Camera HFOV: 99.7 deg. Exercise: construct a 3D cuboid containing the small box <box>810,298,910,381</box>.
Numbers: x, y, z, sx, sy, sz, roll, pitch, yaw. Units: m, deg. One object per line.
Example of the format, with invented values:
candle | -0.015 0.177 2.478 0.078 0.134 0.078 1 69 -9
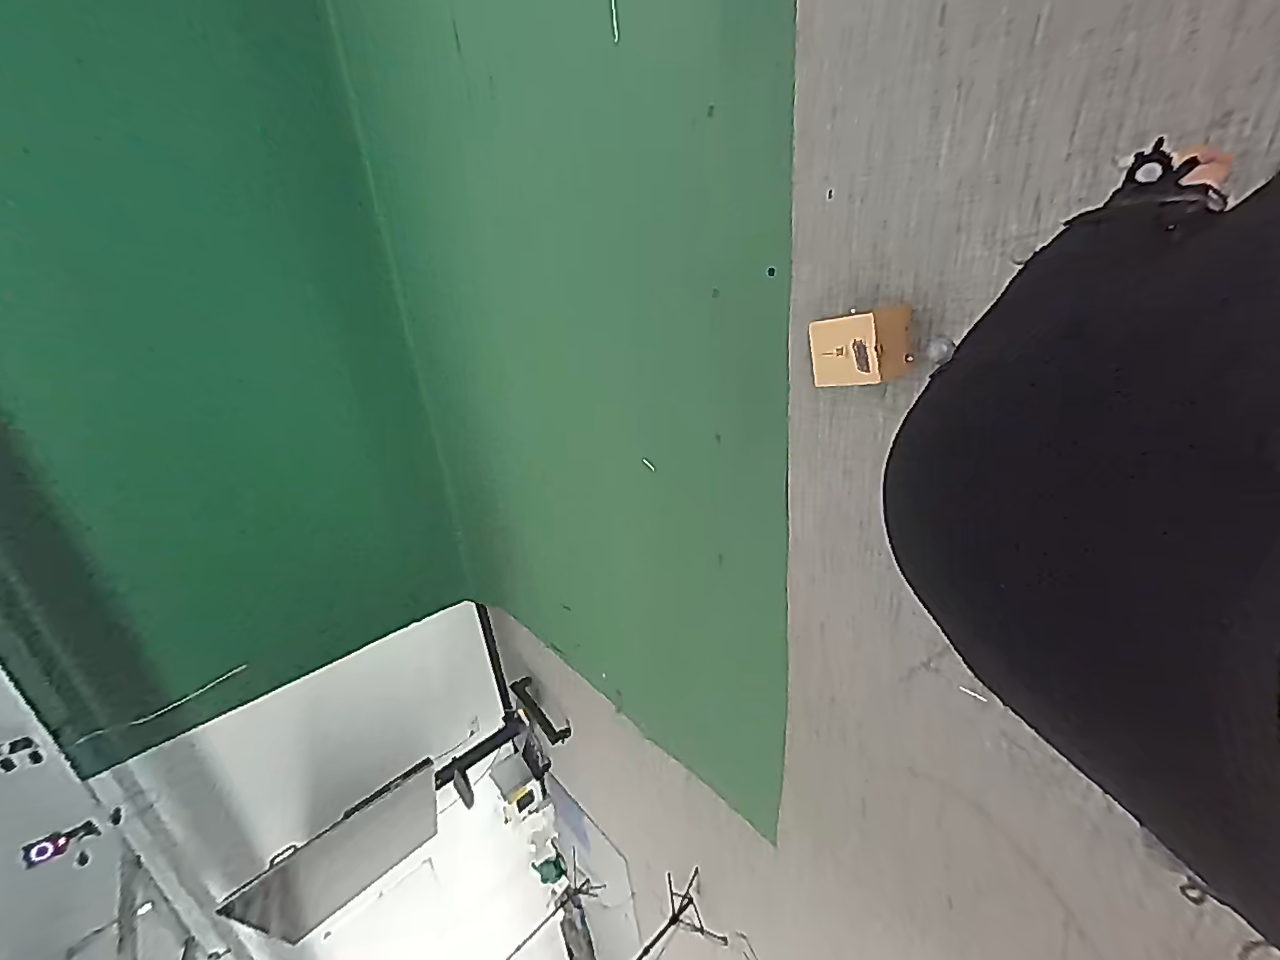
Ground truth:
small box | 0.554 -0.349 1.349 0.179 0.176 0.168 8 115 51
